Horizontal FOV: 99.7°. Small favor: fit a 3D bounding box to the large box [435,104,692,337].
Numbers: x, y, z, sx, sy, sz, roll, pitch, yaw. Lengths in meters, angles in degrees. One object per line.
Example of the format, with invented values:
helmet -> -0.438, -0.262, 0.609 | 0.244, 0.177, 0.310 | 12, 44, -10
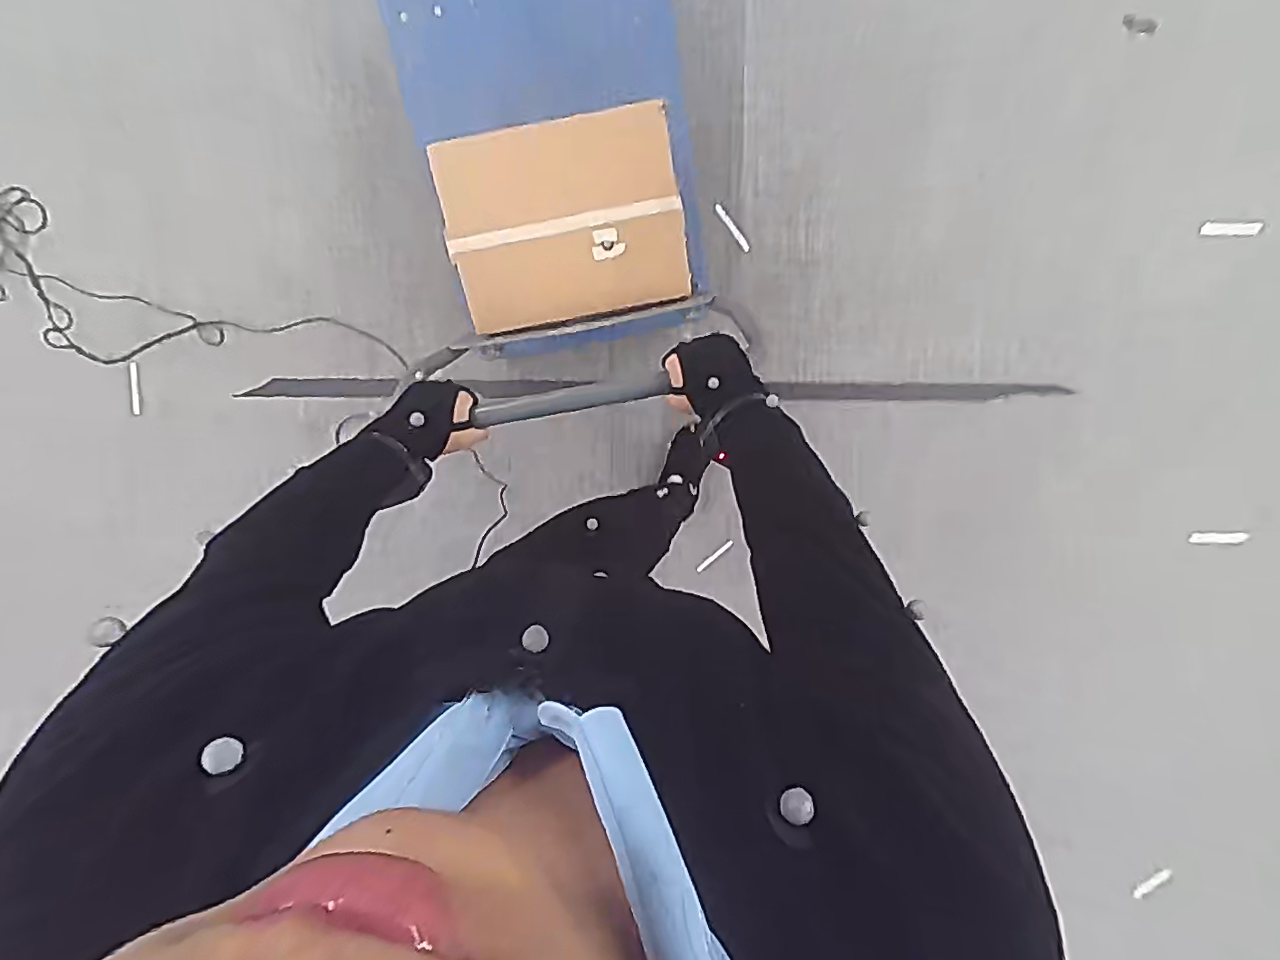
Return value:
large box -> -0.136, -0.493, 1.097 | 0.408, 0.320, 0.320 | -12, 109, 0
